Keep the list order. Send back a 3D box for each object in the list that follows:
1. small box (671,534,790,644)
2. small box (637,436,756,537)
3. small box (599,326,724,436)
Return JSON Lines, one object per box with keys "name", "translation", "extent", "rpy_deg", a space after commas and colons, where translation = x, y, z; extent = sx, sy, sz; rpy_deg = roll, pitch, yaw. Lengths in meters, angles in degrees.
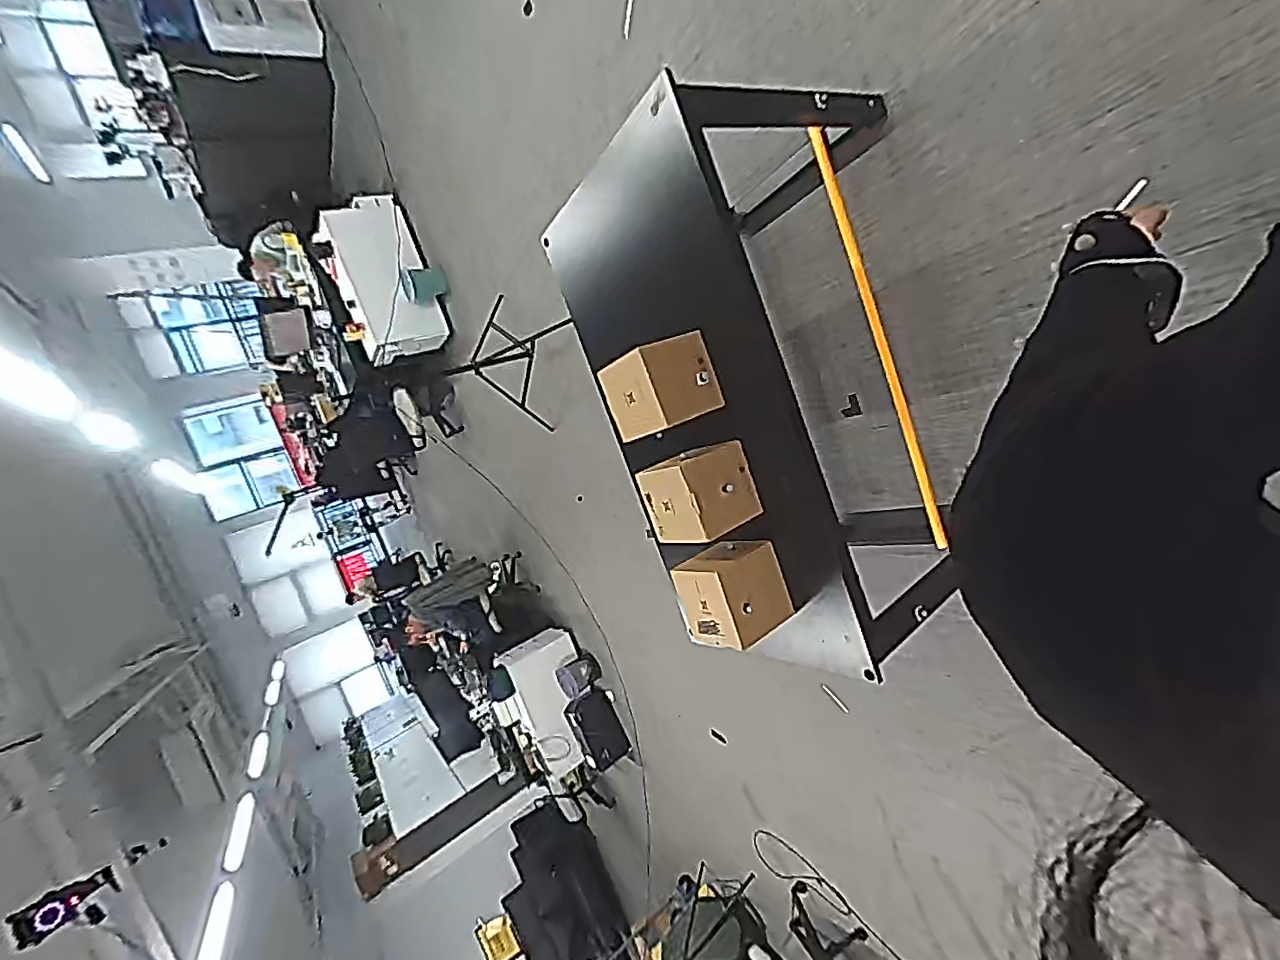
{"name": "small box", "translation": [0.204, 0.232, 1.197], "extent": [0.168, 0.176, 0.179], "rpy_deg": [-11, 100, 58]}
{"name": "small box", "translation": [0.128, 0.014, 1.168], "extent": [0.179, 0.176, 0.168], "rpy_deg": [-10, 103, 57]}
{"name": "small box", "translation": [0.045, -0.208, 1.146], "extent": [0.179, 0.176, 0.168], "rpy_deg": [-13, 100, 57]}
